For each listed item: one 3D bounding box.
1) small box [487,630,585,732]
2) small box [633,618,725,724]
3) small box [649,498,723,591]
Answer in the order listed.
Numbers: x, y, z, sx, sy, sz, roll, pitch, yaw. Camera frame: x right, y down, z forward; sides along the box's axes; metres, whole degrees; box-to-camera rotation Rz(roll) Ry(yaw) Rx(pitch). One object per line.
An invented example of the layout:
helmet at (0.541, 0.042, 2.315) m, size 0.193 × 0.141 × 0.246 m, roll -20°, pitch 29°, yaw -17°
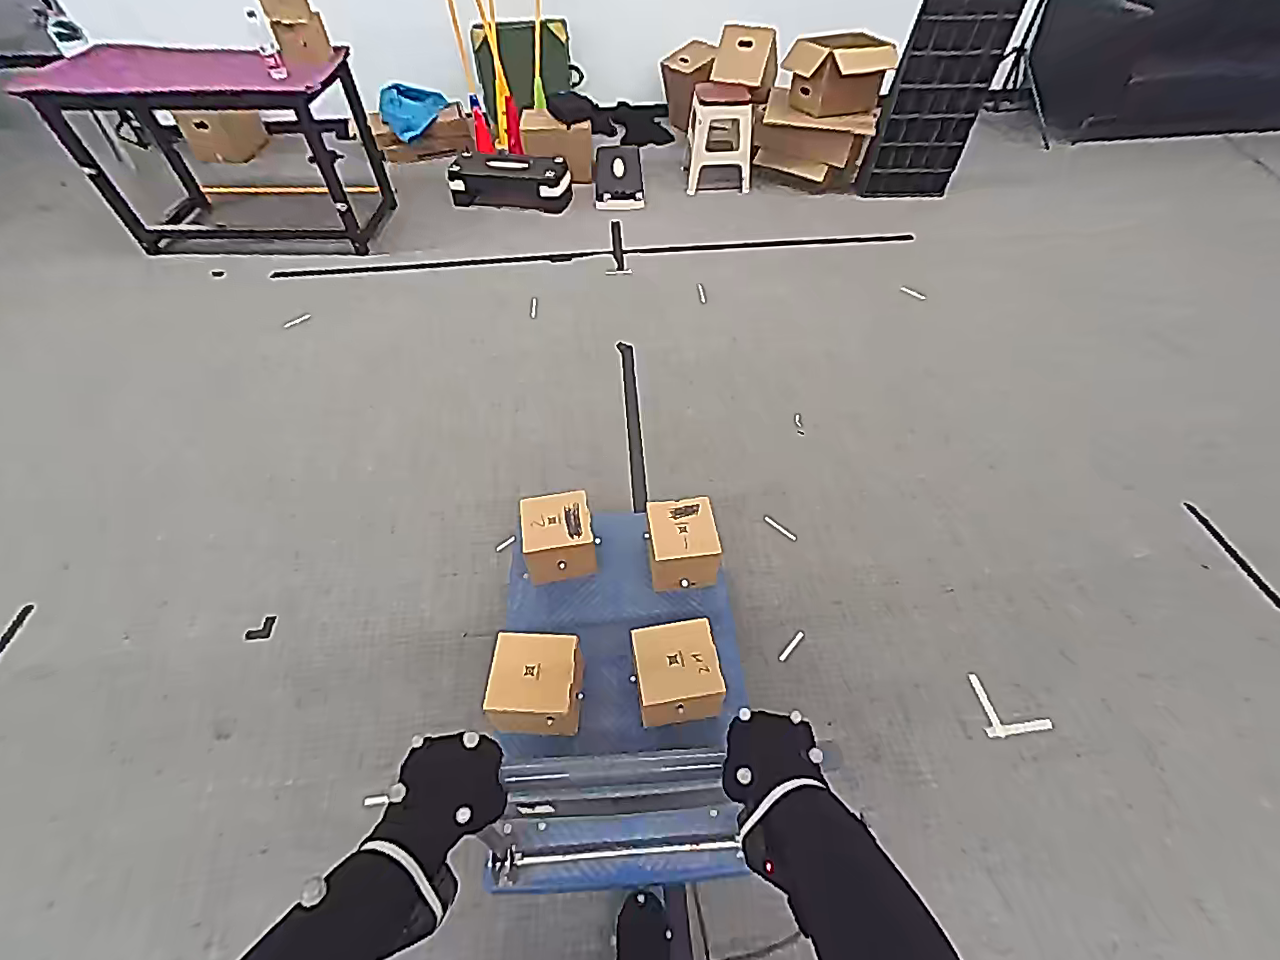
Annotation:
small box at (-0.222, 0.451, 1.207) m, size 0.179 × 0.176 × 0.168 m, roll 3°, pitch 51°, yaw 1°
small box at (0.083, 0.433, 1.217) m, size 0.179 × 0.176 × 0.168 m, roll -7°, pitch 51°, yaw -5°
small box at (0.114, 0.171, 1.428) m, size 0.168 × 0.176 × 0.179 m, roll -6°, pitch 52°, yaw -4°
